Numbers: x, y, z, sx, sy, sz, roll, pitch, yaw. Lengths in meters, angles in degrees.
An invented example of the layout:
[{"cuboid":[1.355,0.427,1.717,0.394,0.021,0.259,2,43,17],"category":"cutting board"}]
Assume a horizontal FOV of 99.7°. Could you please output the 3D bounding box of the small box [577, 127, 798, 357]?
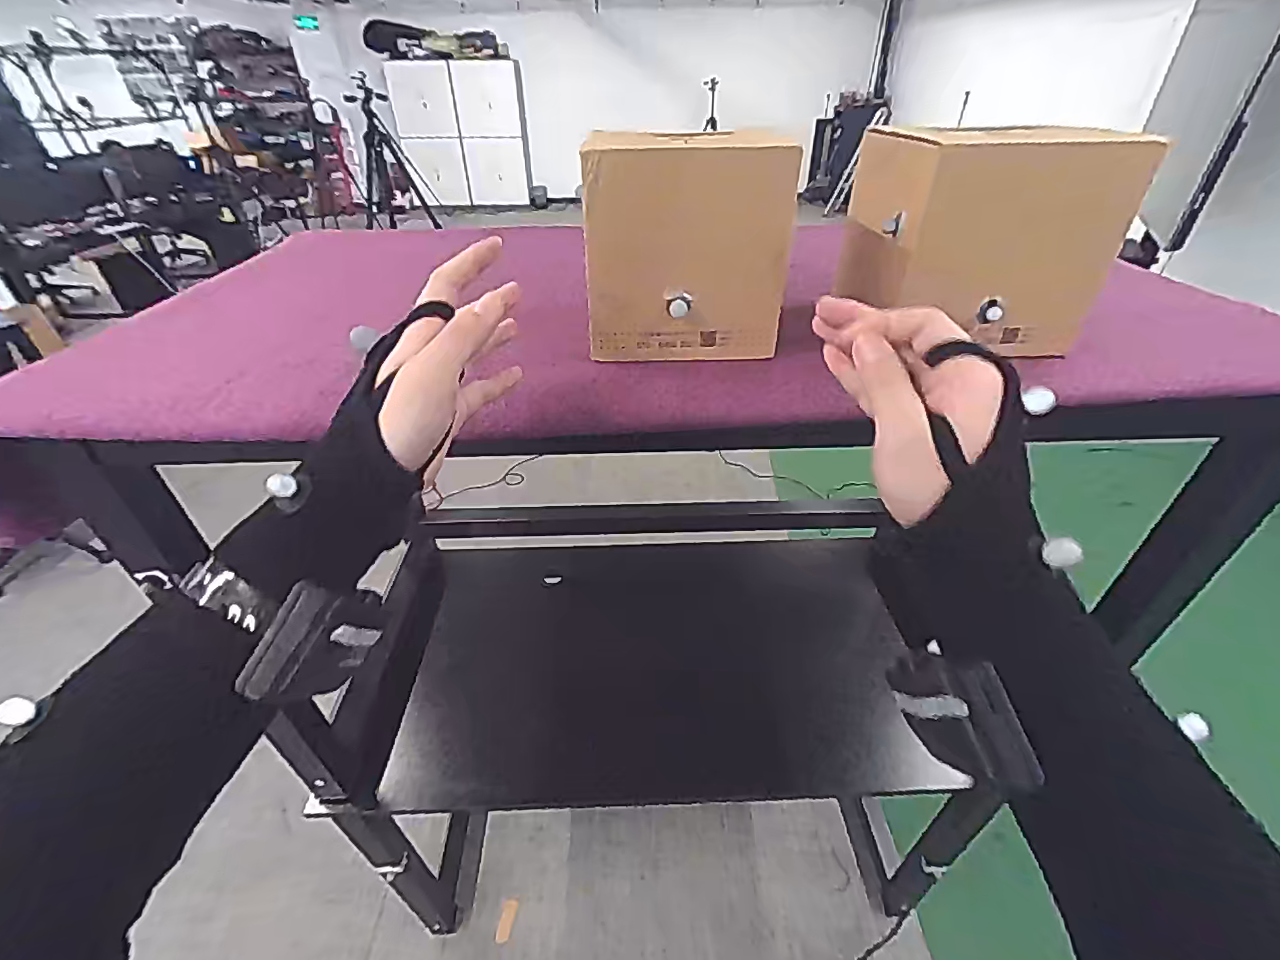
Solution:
[{"cuboid":[0.034,-0.226,0.506,0.168,0.176,0.179,-1,36,0],"category":"small box"}]
